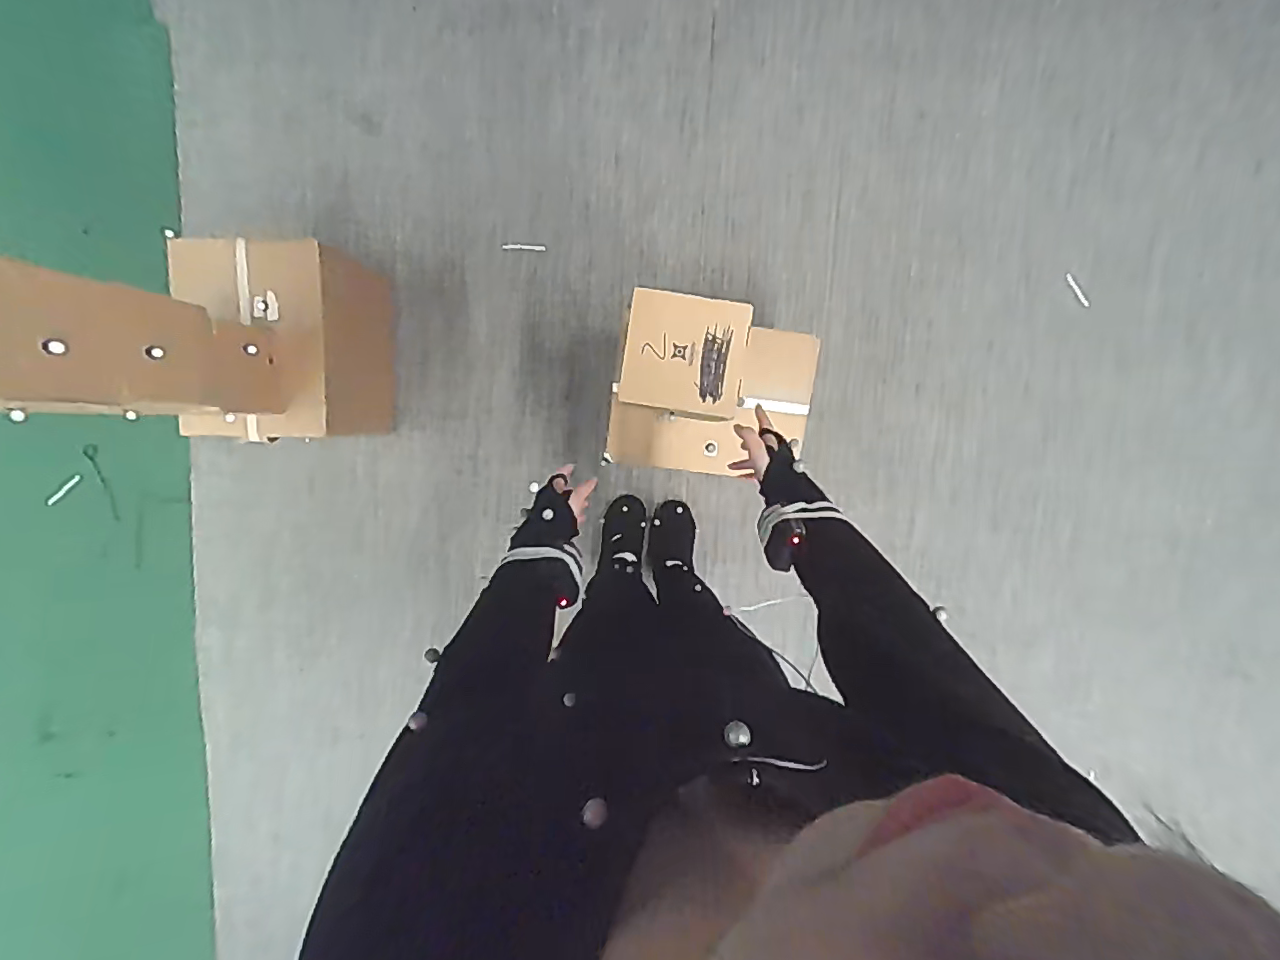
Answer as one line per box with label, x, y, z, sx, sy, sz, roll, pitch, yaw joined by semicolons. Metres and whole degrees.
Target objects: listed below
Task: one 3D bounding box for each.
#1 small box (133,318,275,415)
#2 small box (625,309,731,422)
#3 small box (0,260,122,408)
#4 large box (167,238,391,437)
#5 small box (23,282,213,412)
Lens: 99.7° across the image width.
small box;-0.825;-0.209;1.022;0.179;0.176;0.168;0;95;1
small box;0.067;-0.206;1.018;0.168;0.176;0.179;8;94;-1
small box;-0.824;-0.181;0.694;0.168;0.176;0.179;-2;96;0
large box;-0.804;-0.303;1.257;0.320;0.320;0.408;1;95;0
small box;-0.825;-0.199;0.858;0.168;0.176;0.179;-4;95;0
